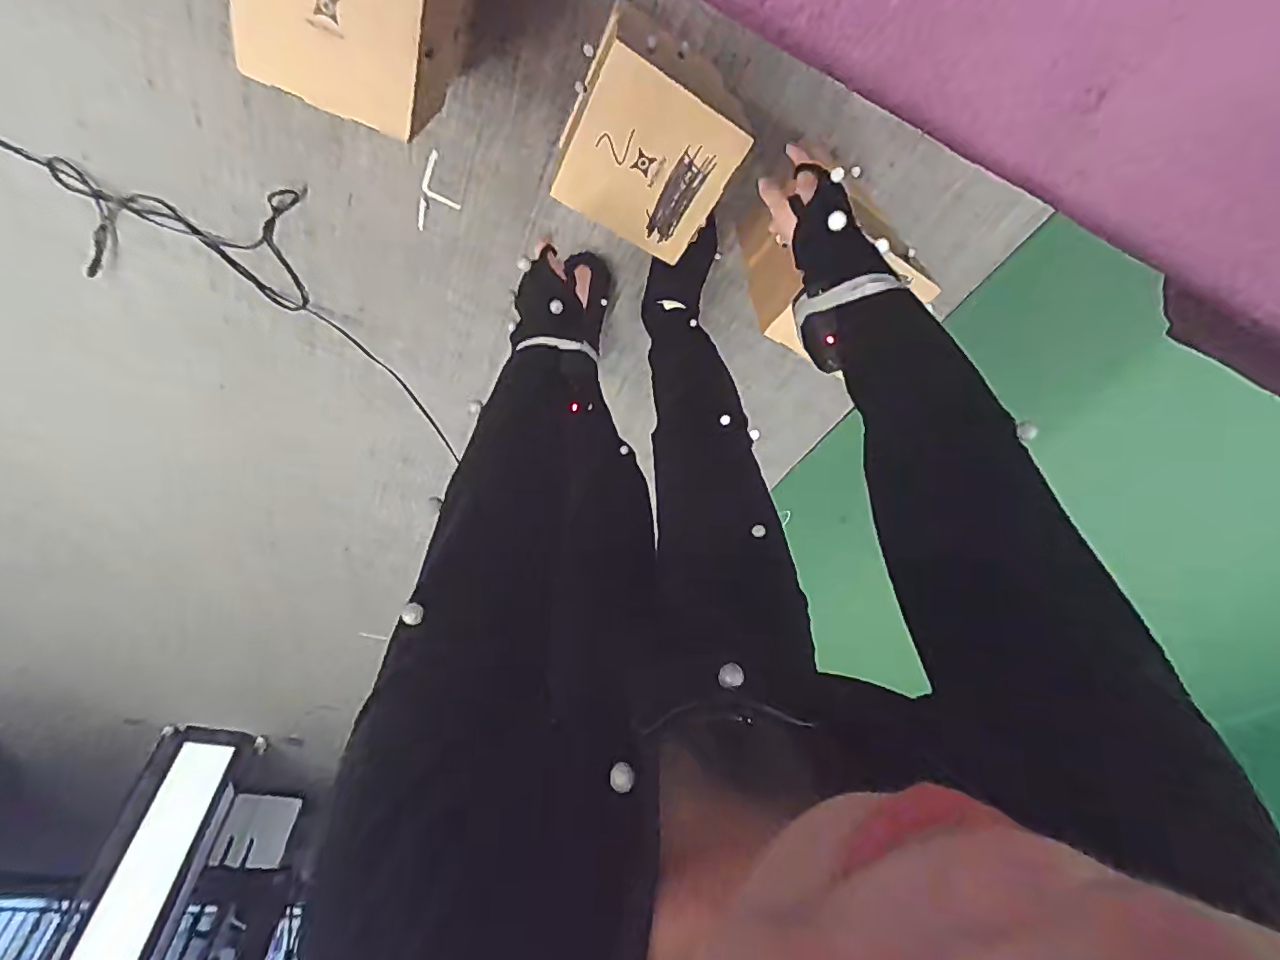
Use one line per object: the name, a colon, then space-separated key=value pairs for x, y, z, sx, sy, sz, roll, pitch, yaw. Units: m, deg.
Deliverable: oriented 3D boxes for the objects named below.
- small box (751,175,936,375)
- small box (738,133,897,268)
small box: x=0.279 y=-0.294 z=0.784 sx=0.168 sy=0.176 sz=0.179 roll=21 pitch=135 yaw=-24
small box: x=0.278 y=-0.422 z=0.892 sx=0.168 sy=0.176 sz=0.179 roll=25 pitch=131 yaw=-26
